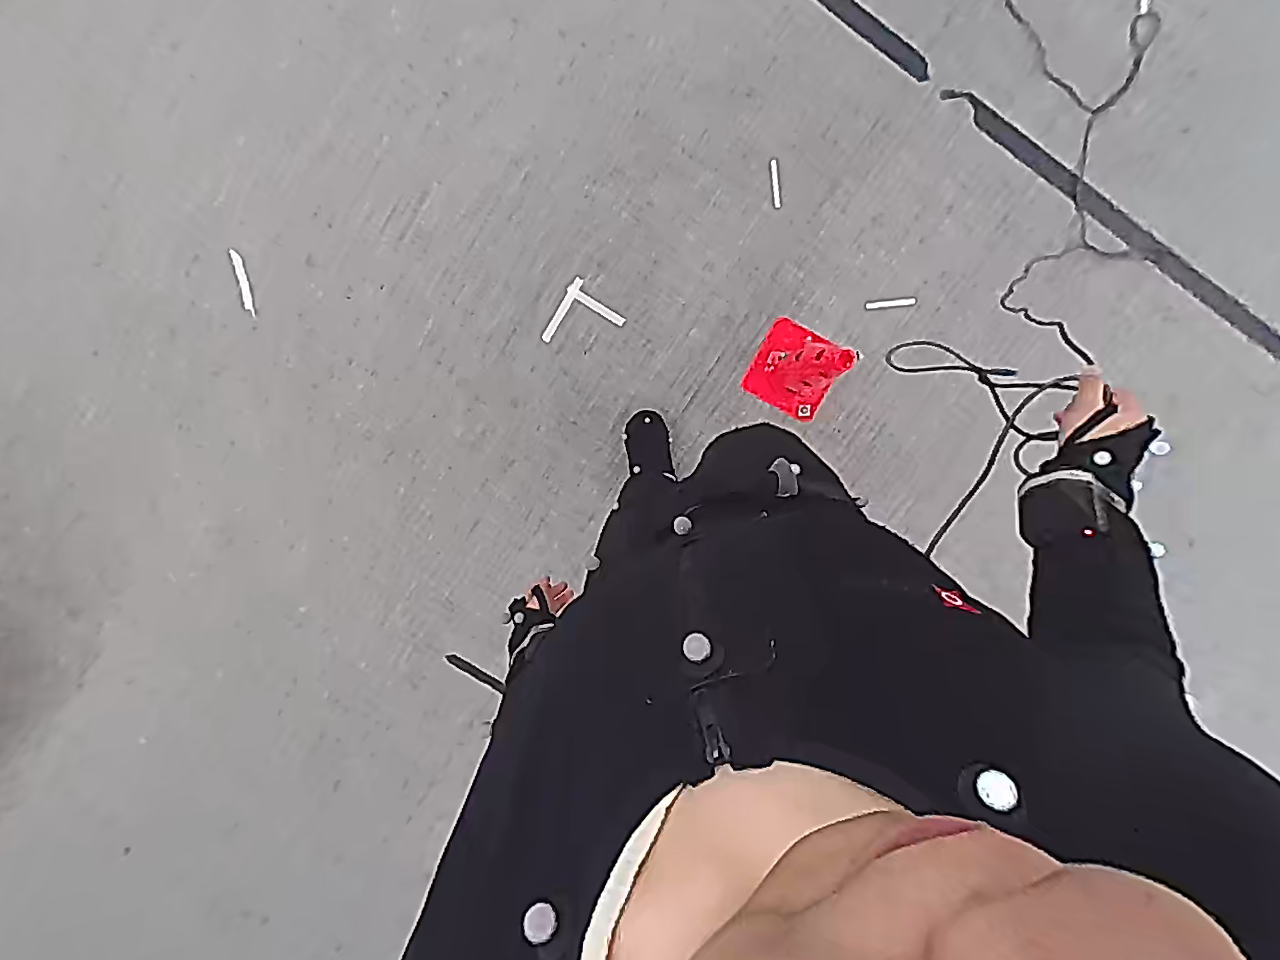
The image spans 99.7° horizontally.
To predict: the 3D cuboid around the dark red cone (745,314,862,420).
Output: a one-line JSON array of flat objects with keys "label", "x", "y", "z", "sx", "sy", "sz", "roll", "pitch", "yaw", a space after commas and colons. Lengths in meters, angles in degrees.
[{"label": "dark red cone", "x": 0.369, "y": -0.248, "z": 1.123, "sx": 0.202, "sy": 0.394, "sz": 0.201, "roll": 26, "pitch": 96, "yaw": -3}]
